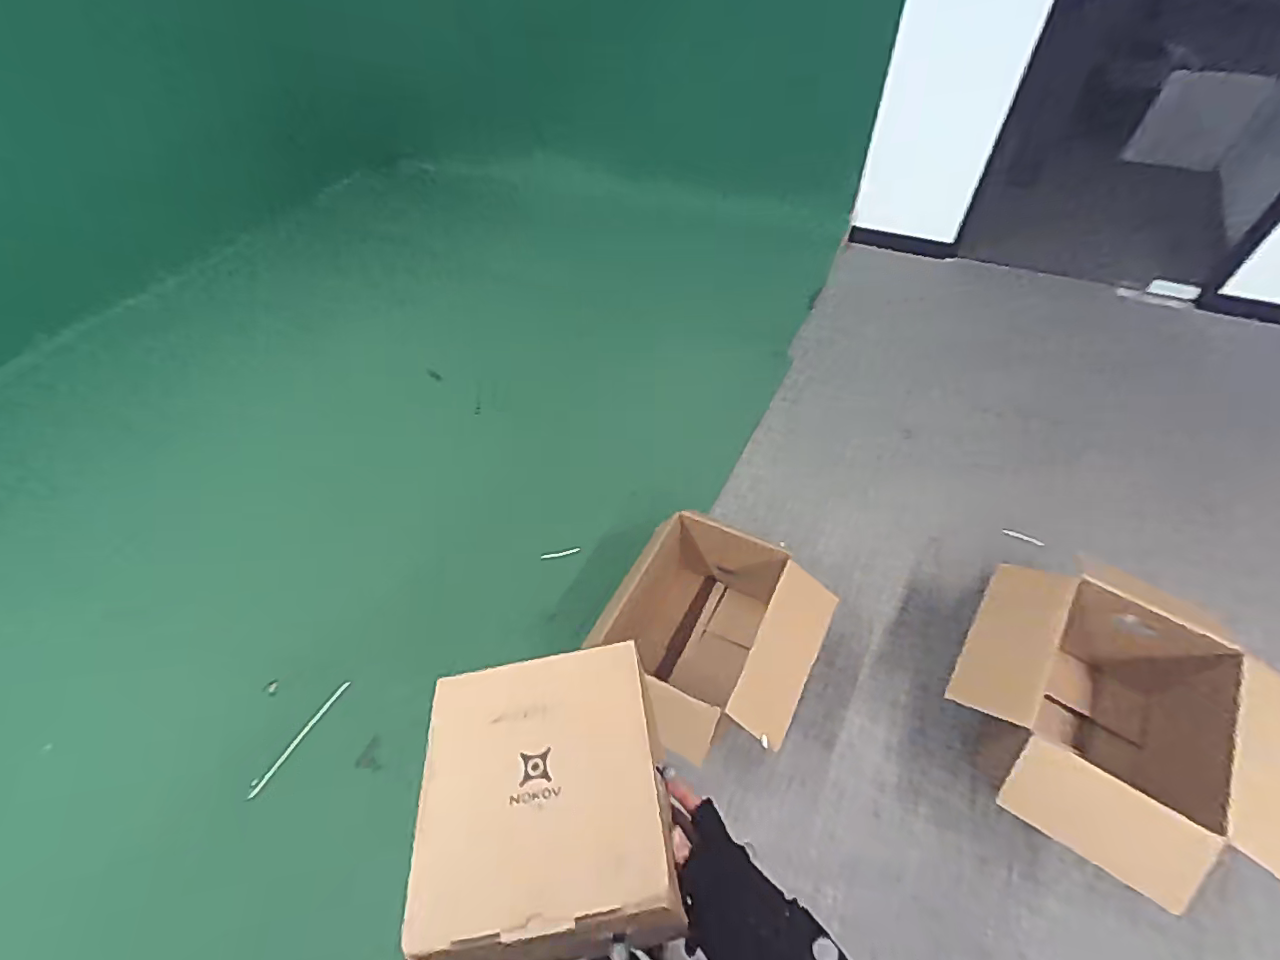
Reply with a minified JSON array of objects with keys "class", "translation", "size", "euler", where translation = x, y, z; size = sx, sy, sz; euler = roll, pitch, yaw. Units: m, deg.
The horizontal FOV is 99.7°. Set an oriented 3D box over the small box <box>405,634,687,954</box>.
[{"class":"small box","translation":[-0.060,0.254,0.433],"size":[0.168,0.176,0.179],"euler":[-10,45,-1]}]
